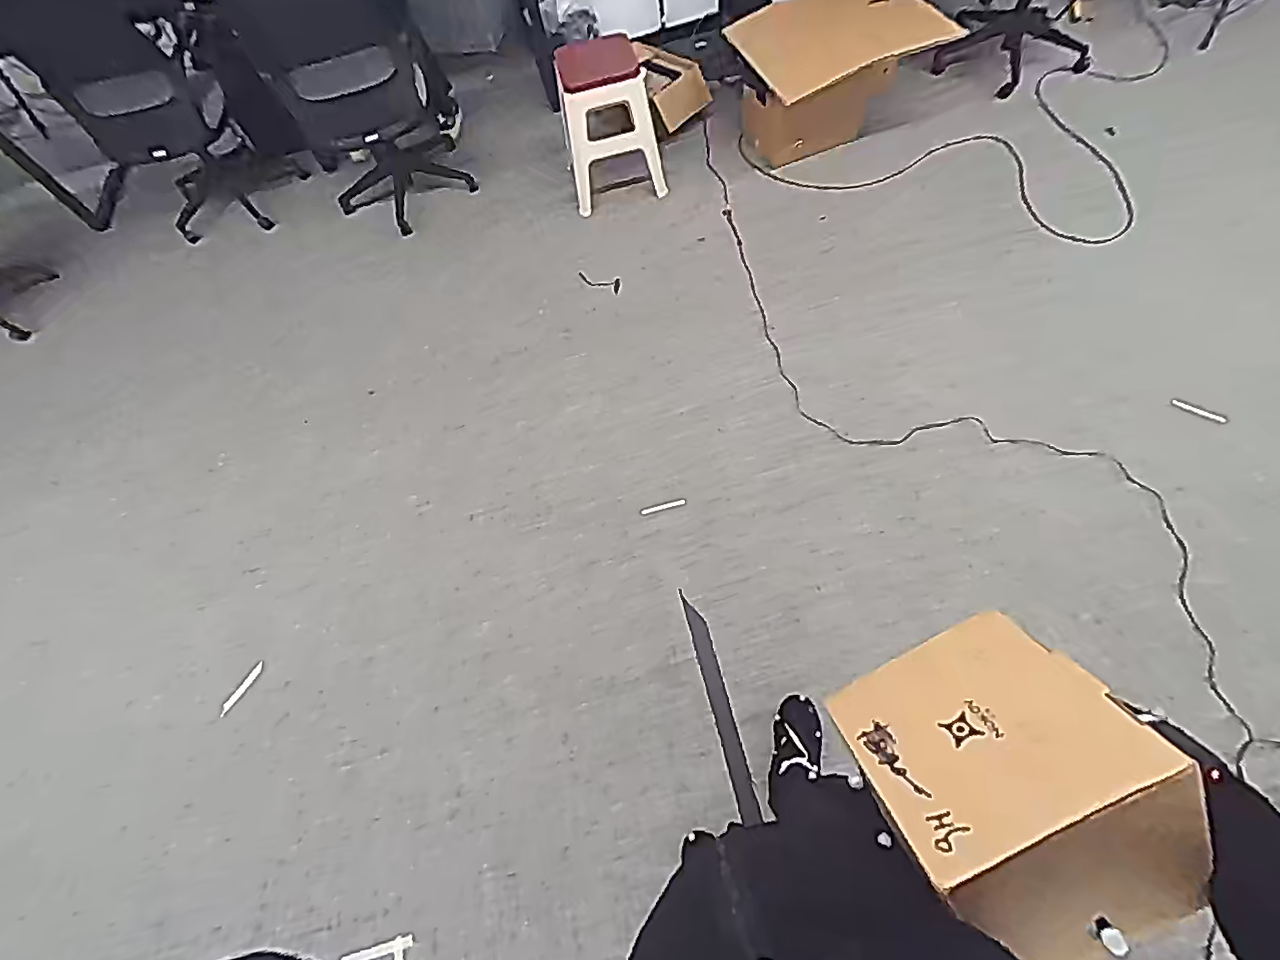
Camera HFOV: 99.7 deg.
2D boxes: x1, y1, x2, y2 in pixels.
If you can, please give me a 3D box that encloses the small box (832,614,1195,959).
[{"bbox_3d":[0.297,0.253,0.448,0.179,0.176,0.168,-29,22,4],"label":"small box"}]
